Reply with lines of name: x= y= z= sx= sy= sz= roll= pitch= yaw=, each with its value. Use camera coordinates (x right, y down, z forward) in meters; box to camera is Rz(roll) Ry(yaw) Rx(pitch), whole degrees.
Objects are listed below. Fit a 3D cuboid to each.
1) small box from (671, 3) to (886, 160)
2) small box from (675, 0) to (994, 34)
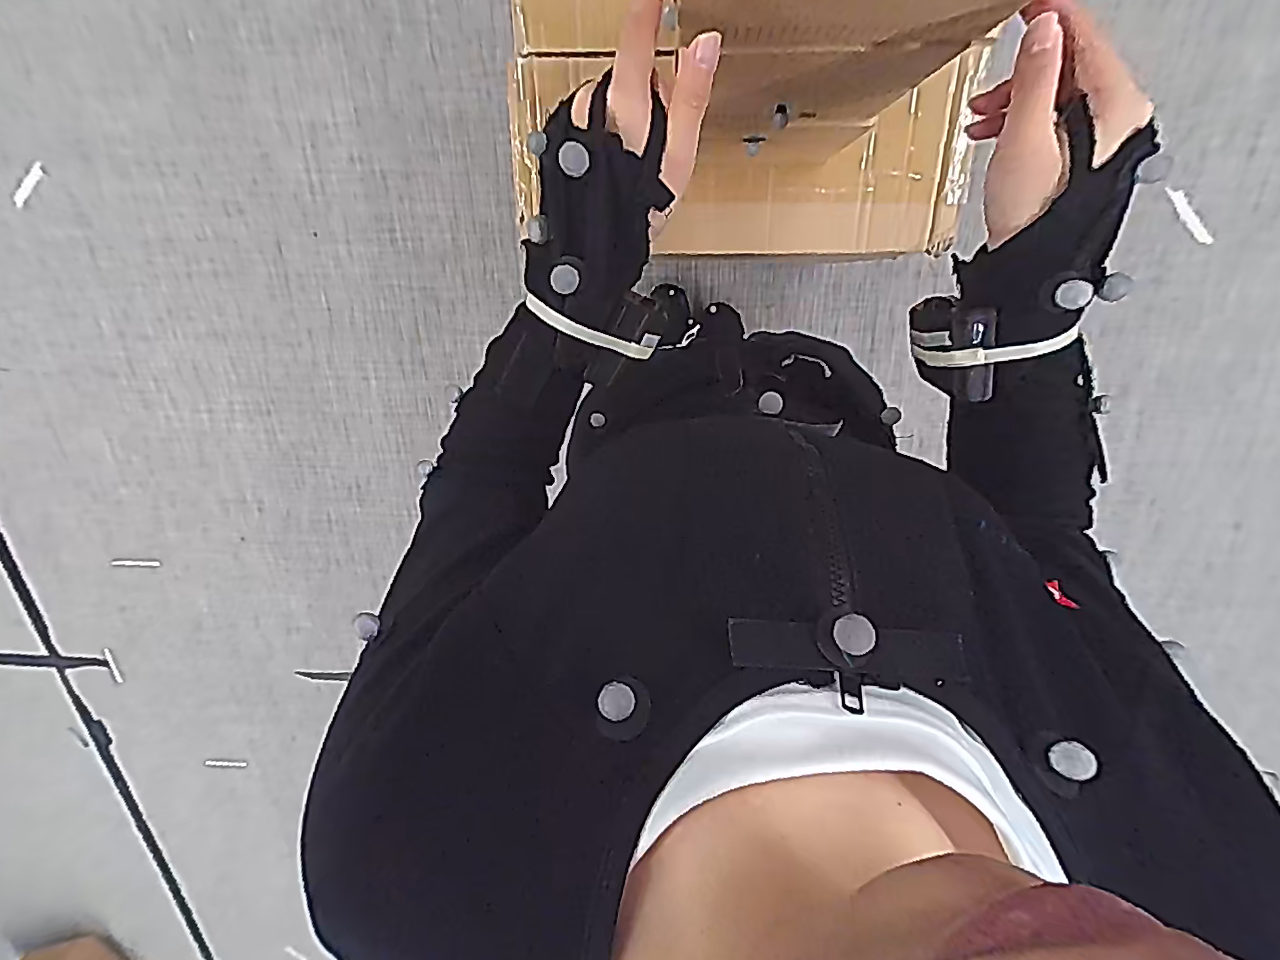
small box: x=0.121 y=-0.414 z=0.515 sx=0.179 sy=0.176 sz=0.168 roll=1 pitch=111 yaw=3
small box: x=0.103 y=-0.302 z=0.205 sx=0.179 sy=0.176 sz=0.168 roll=1 pitch=111 yaw=3
